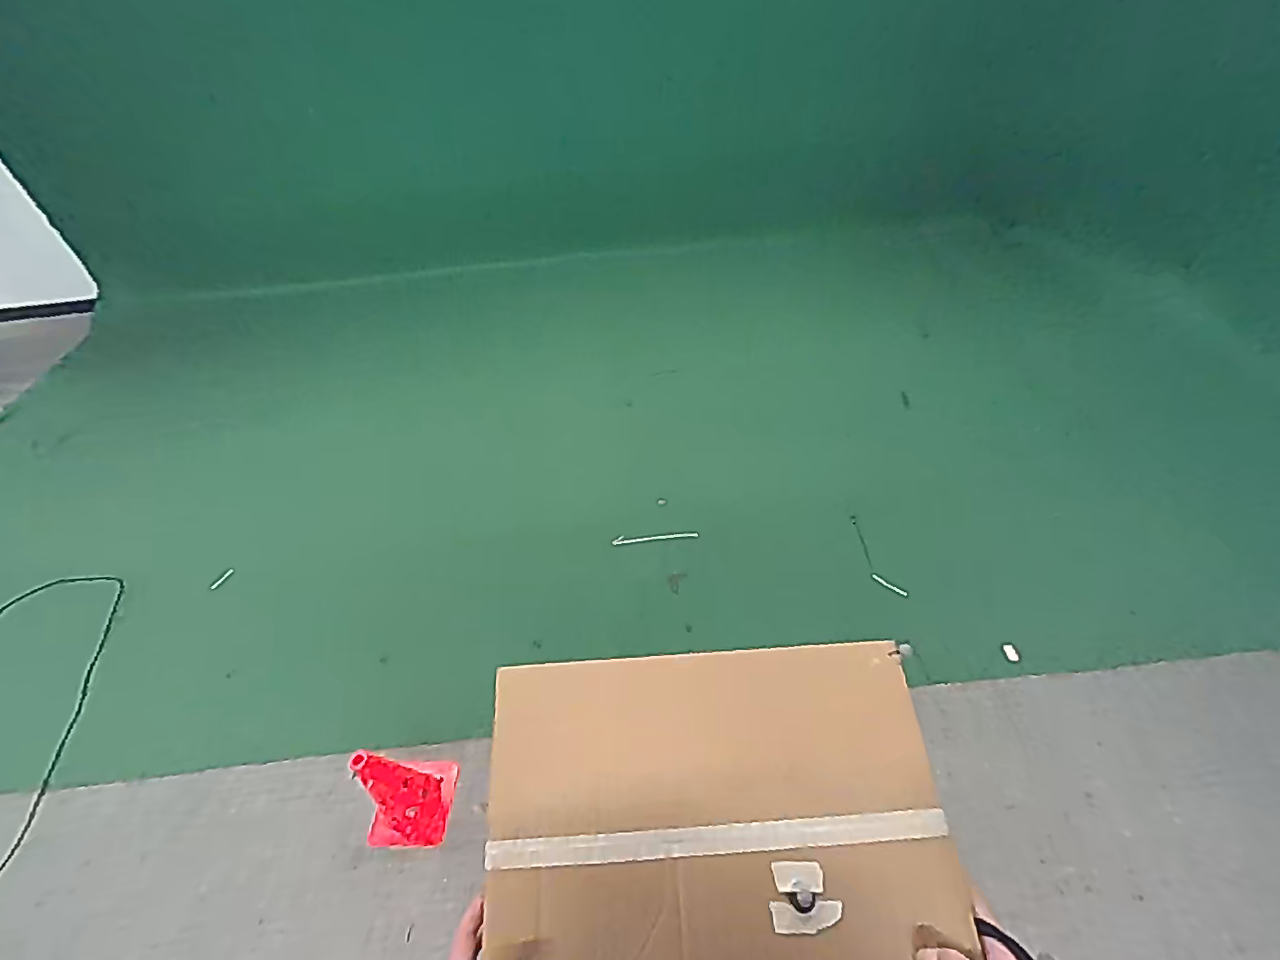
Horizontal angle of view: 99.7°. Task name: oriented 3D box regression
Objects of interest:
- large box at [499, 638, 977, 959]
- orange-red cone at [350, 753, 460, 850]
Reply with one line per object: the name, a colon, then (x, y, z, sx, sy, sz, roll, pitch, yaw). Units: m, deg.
large box: (0.073, 0.386, 0.622, 0.408, 0.320, 0.320, -4, 63, -1)
orange-red cone: (-0.612, 0.750, 1.321, 0.199, 0.360, 0.198, -2, 45, 5)
